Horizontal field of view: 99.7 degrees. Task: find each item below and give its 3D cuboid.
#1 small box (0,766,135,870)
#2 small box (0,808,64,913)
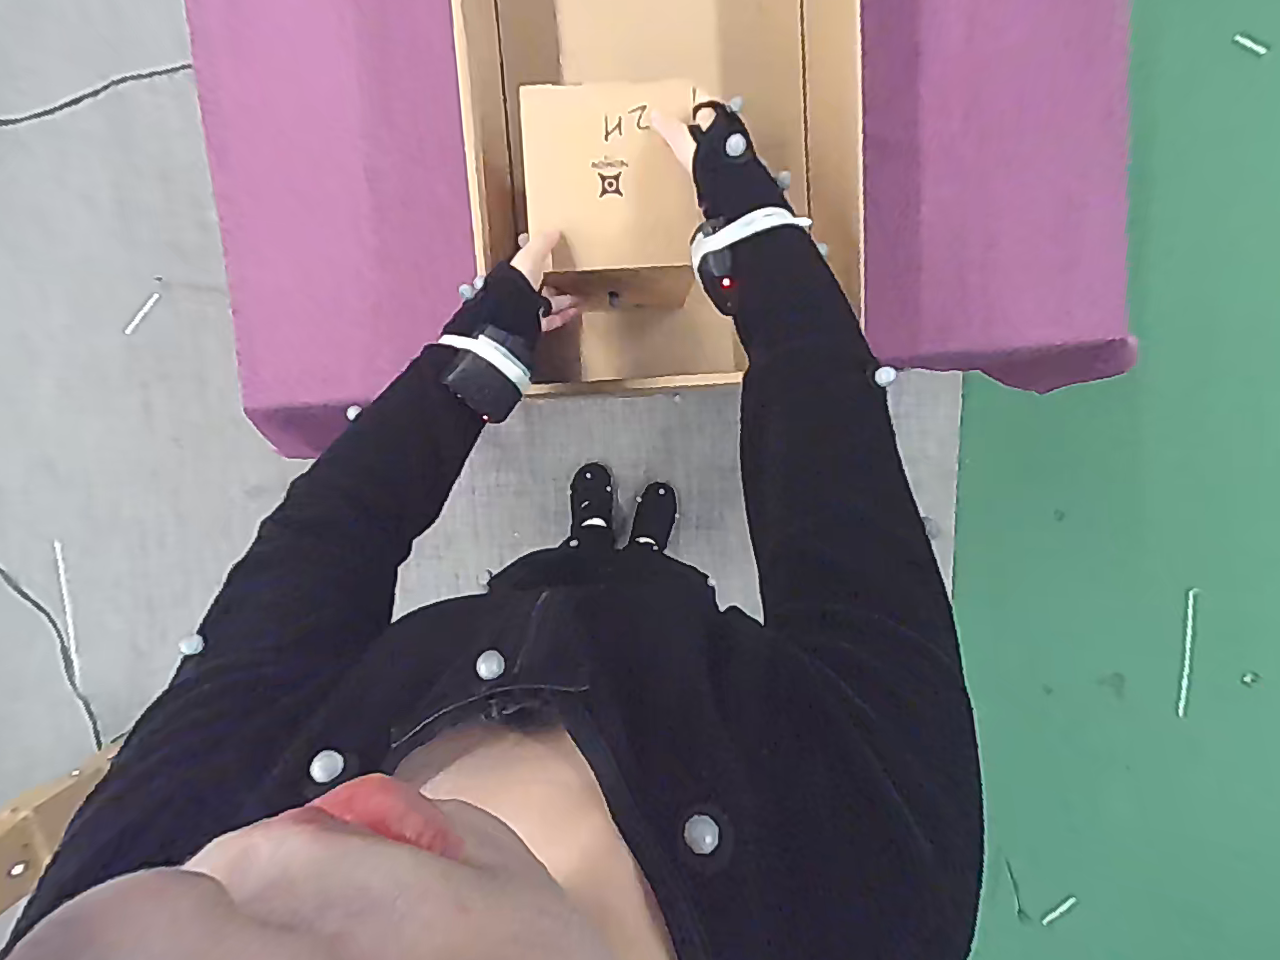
[{"bbox_3d":[-1.464,0.861,1.381,0.168,0.176,0.179,-14,96,4],"label":"small box"},{"bbox_3d":[-1.485,0.881,1.220,0.179,0.176,0.168,-11,95,2],"label":"small box"}]
